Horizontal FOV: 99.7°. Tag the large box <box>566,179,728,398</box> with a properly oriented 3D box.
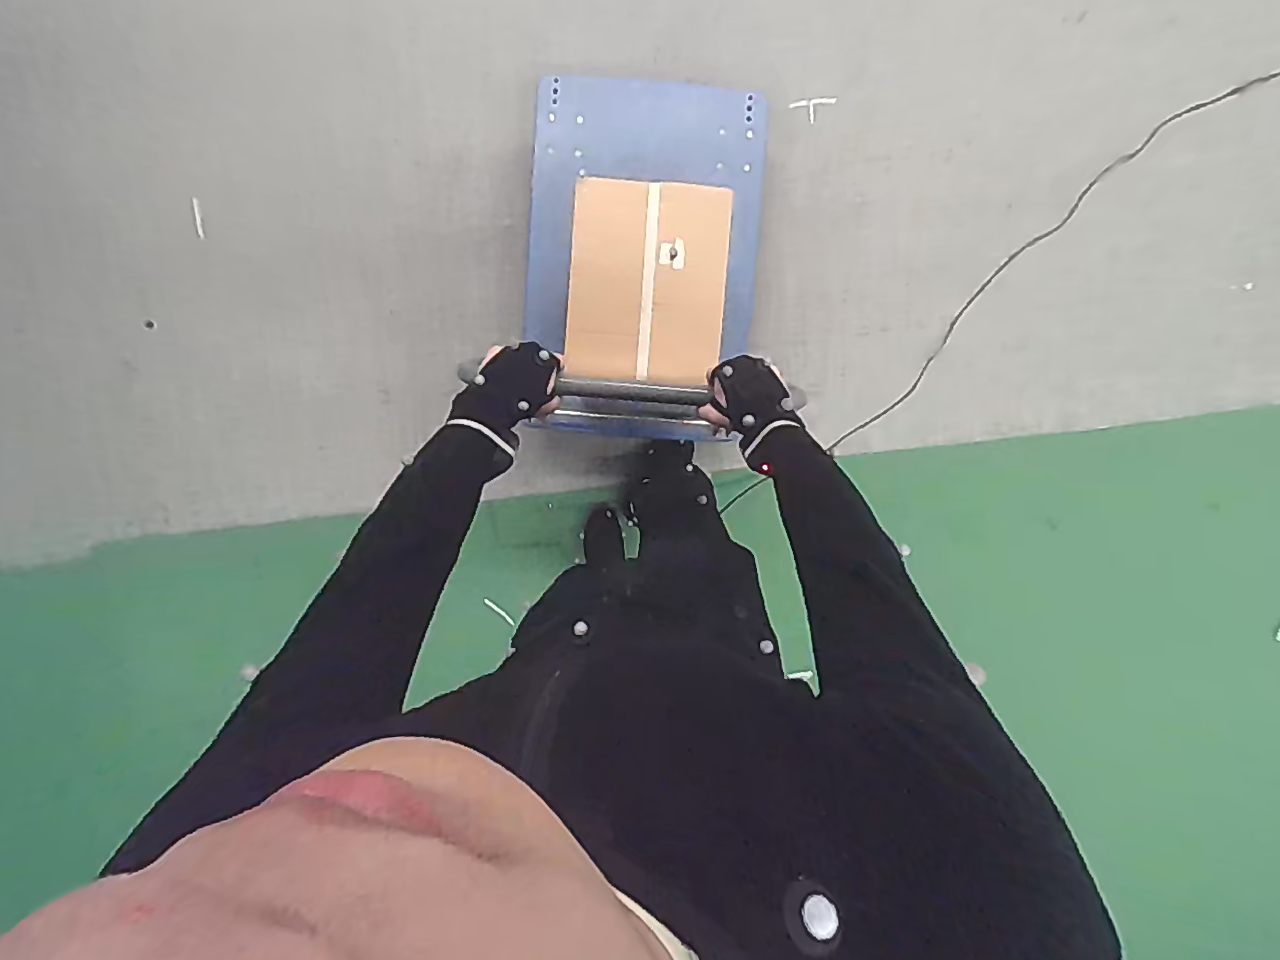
[{"bbox_3d":[0.014,-0.404,1.239,0.320,0.320,0.408,4,95,-1],"label":"large box"}]
